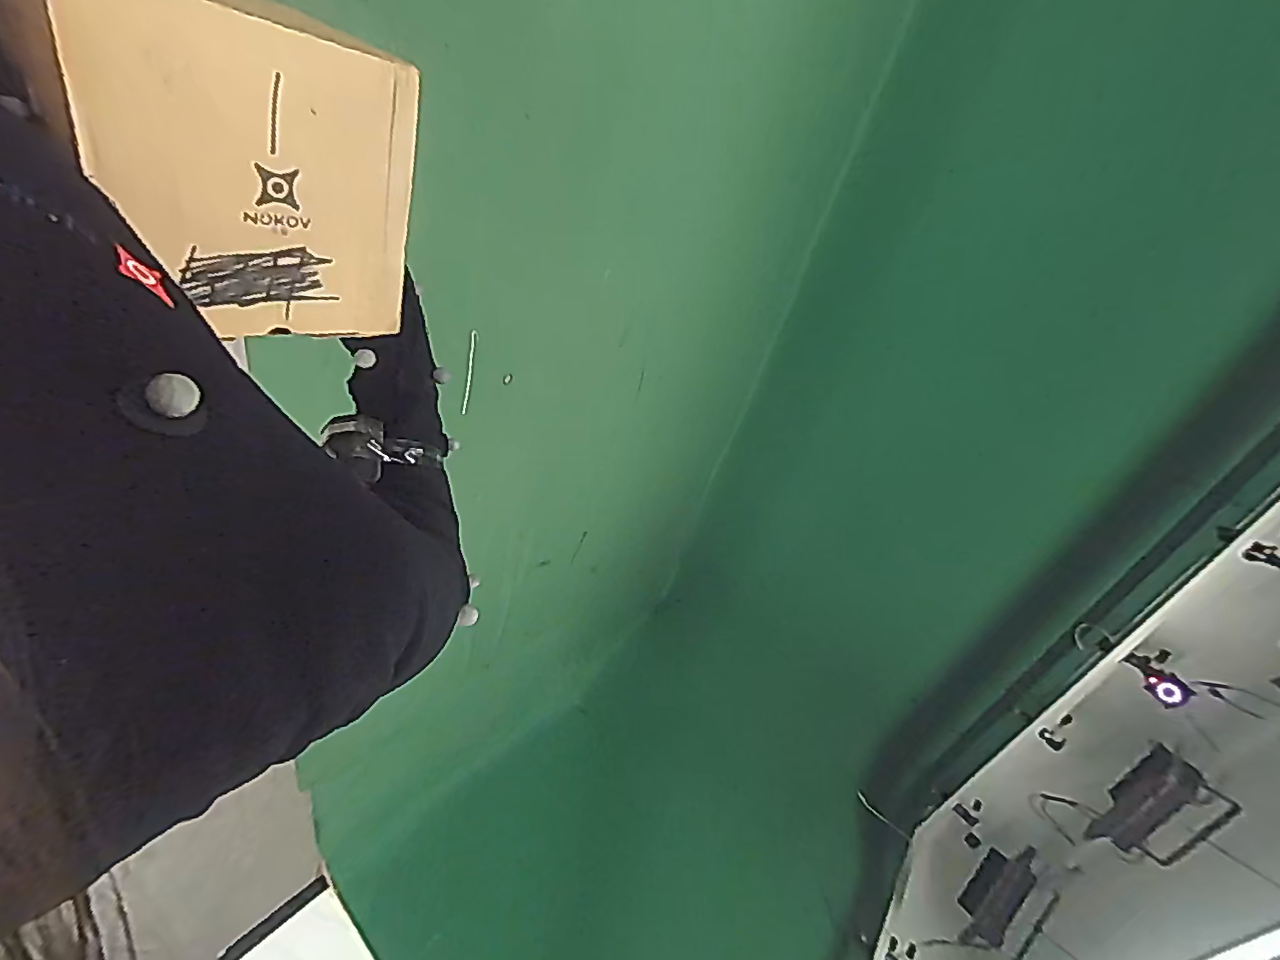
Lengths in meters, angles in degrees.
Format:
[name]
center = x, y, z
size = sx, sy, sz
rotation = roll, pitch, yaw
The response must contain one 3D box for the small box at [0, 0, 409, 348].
[small box]
center = -0.280, -0.206, 0.355
size = 0.168, 0.176, 0.179
rotation = -21, 141, -48
